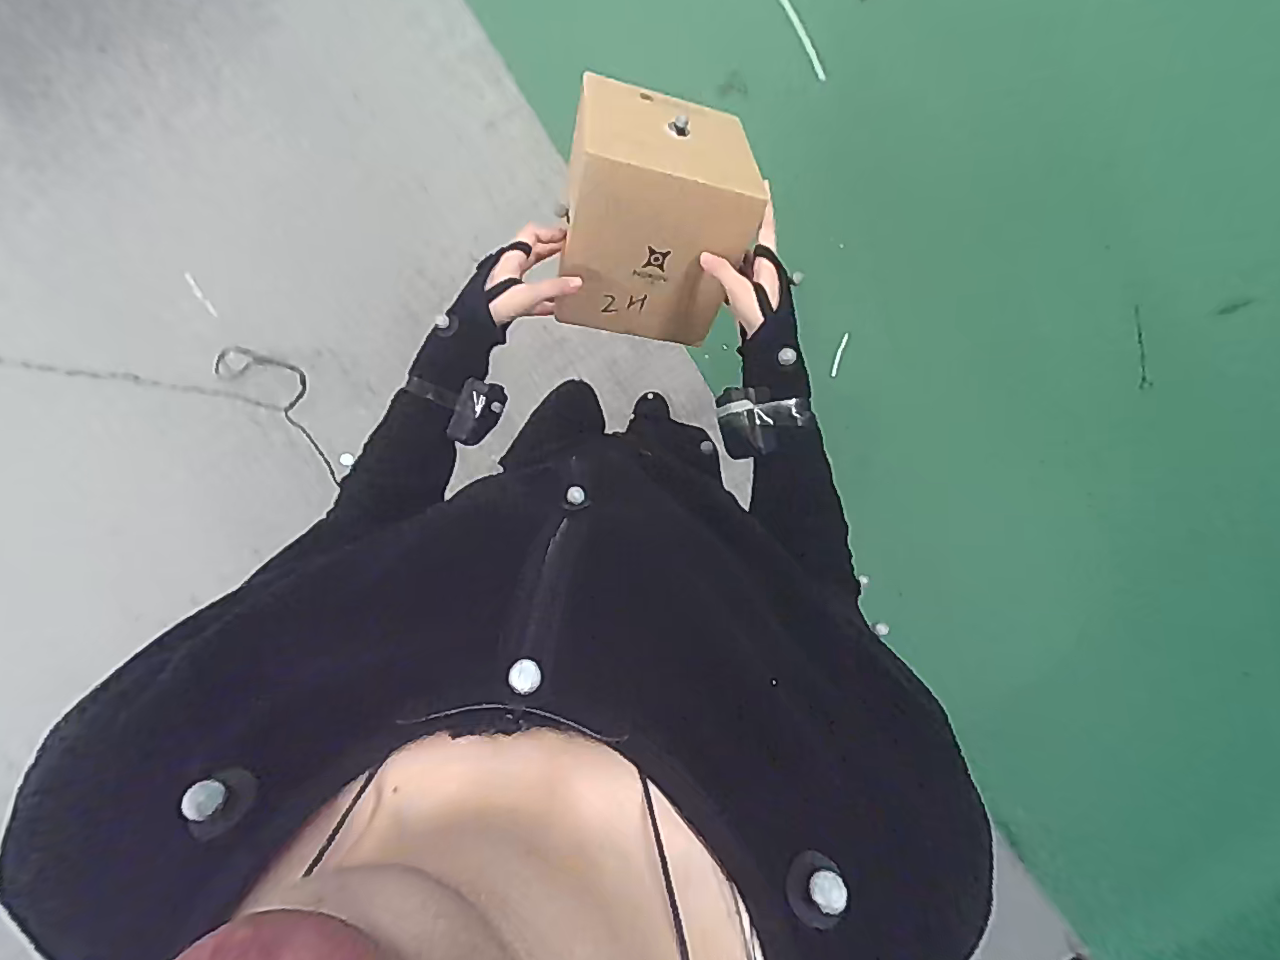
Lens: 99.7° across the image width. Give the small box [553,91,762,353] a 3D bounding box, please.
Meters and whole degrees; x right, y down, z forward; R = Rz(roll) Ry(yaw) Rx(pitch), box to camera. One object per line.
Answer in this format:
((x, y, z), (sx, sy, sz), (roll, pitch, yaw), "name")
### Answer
((0.002, -0.265, 0.565), (0.168, 0.176, 0.179), (6, 144, -15), "small box")
